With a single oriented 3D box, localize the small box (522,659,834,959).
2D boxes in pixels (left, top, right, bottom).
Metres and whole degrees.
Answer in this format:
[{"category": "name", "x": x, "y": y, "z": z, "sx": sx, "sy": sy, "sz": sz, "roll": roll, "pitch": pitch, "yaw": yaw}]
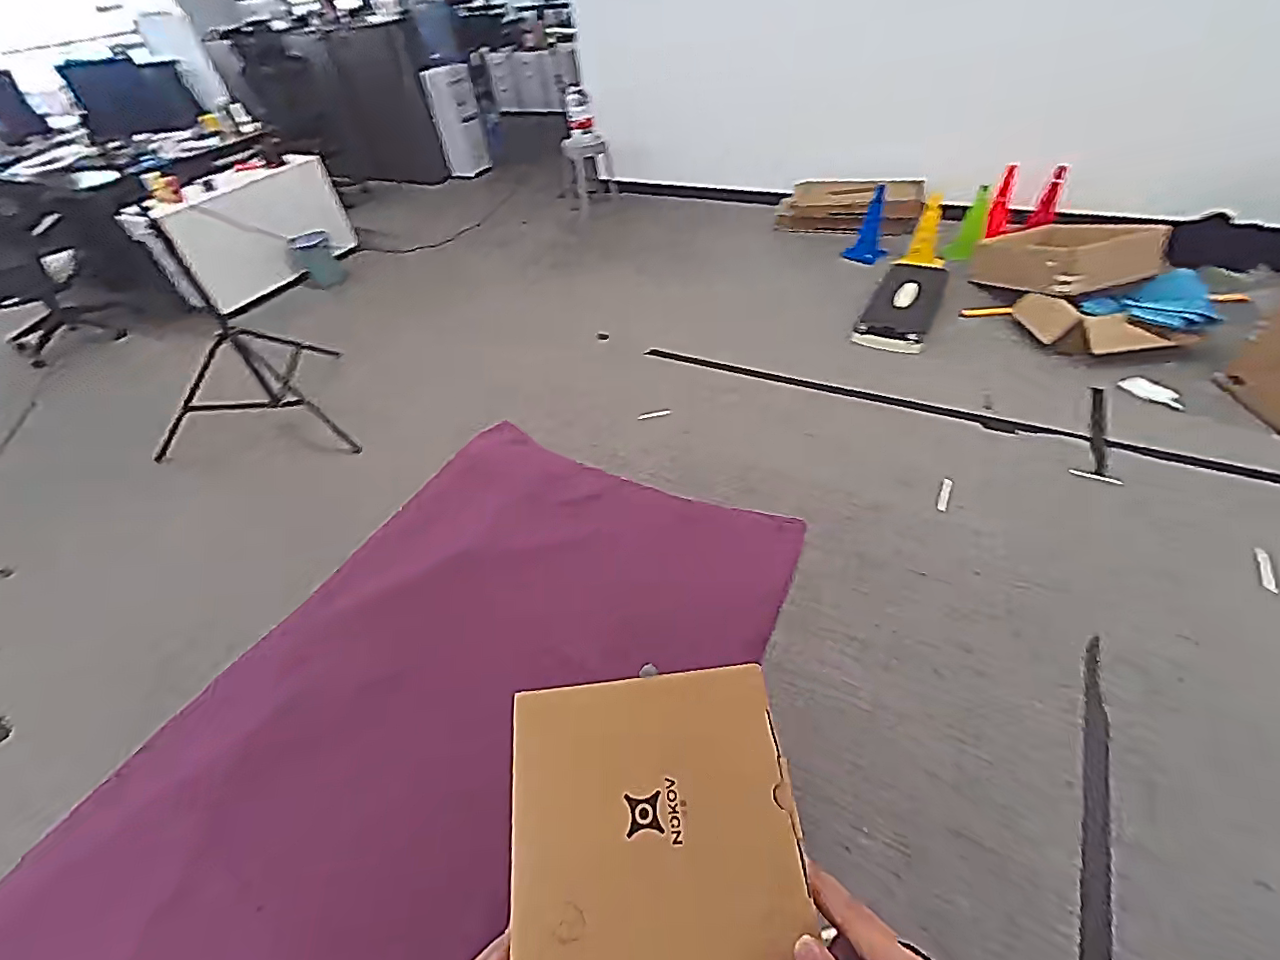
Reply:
[{"category": "small box", "x": 0.019, "y": 0.248, "z": 0.404, "sx": 0.179, "sy": 0.176, "sz": 0.168, "roll": -6, "pitch": 55, "yaw": -1}]
